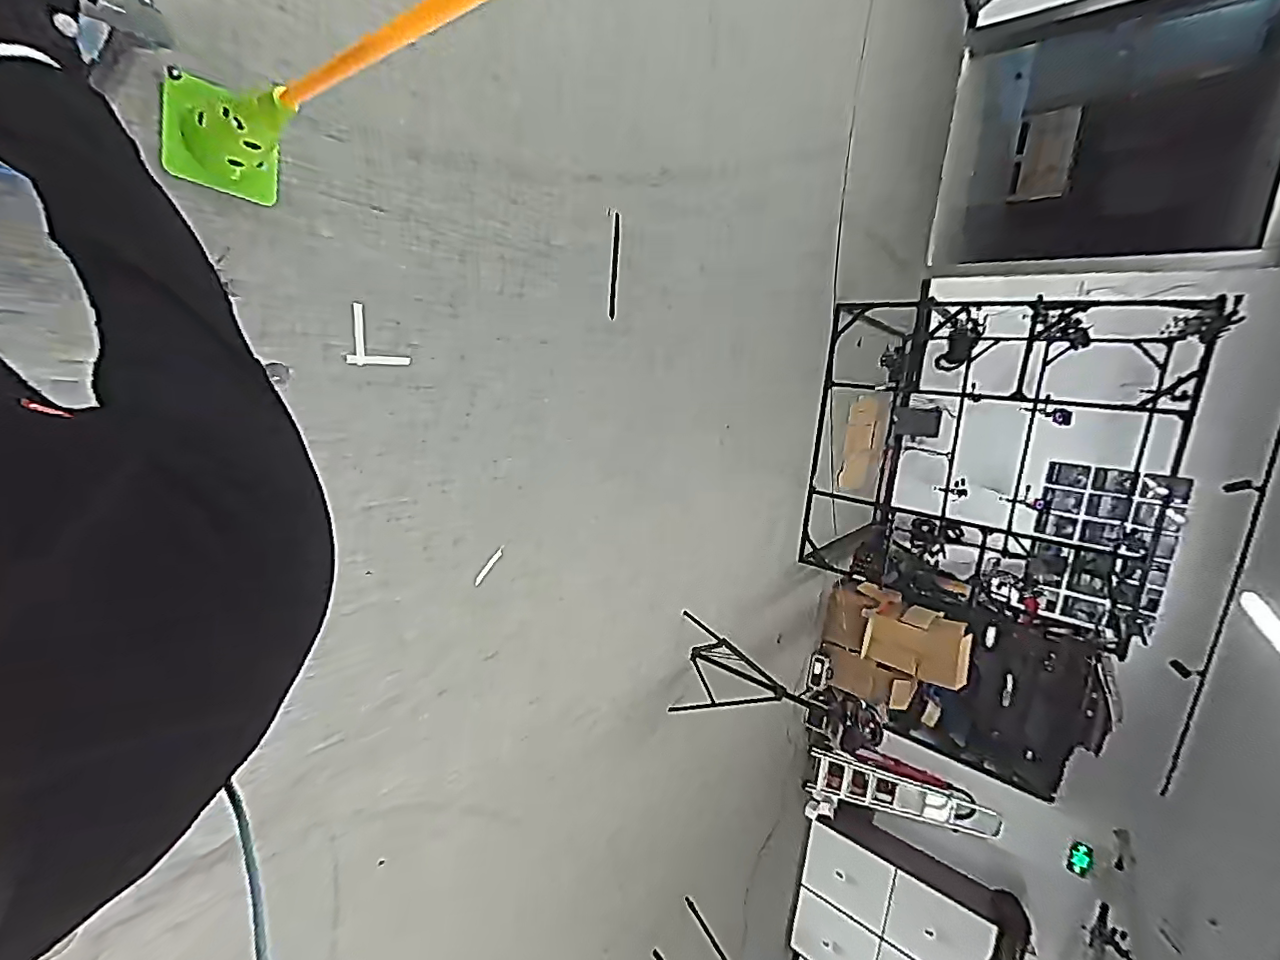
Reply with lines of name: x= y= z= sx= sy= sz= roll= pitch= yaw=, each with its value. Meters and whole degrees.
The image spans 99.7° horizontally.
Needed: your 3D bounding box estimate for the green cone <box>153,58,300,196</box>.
green cone: x=-0.755 y=-0.698 z=1.036 sx=0.202 sy=0.368 sz=0.200 roll=-3 pitch=103 yaw=-53
